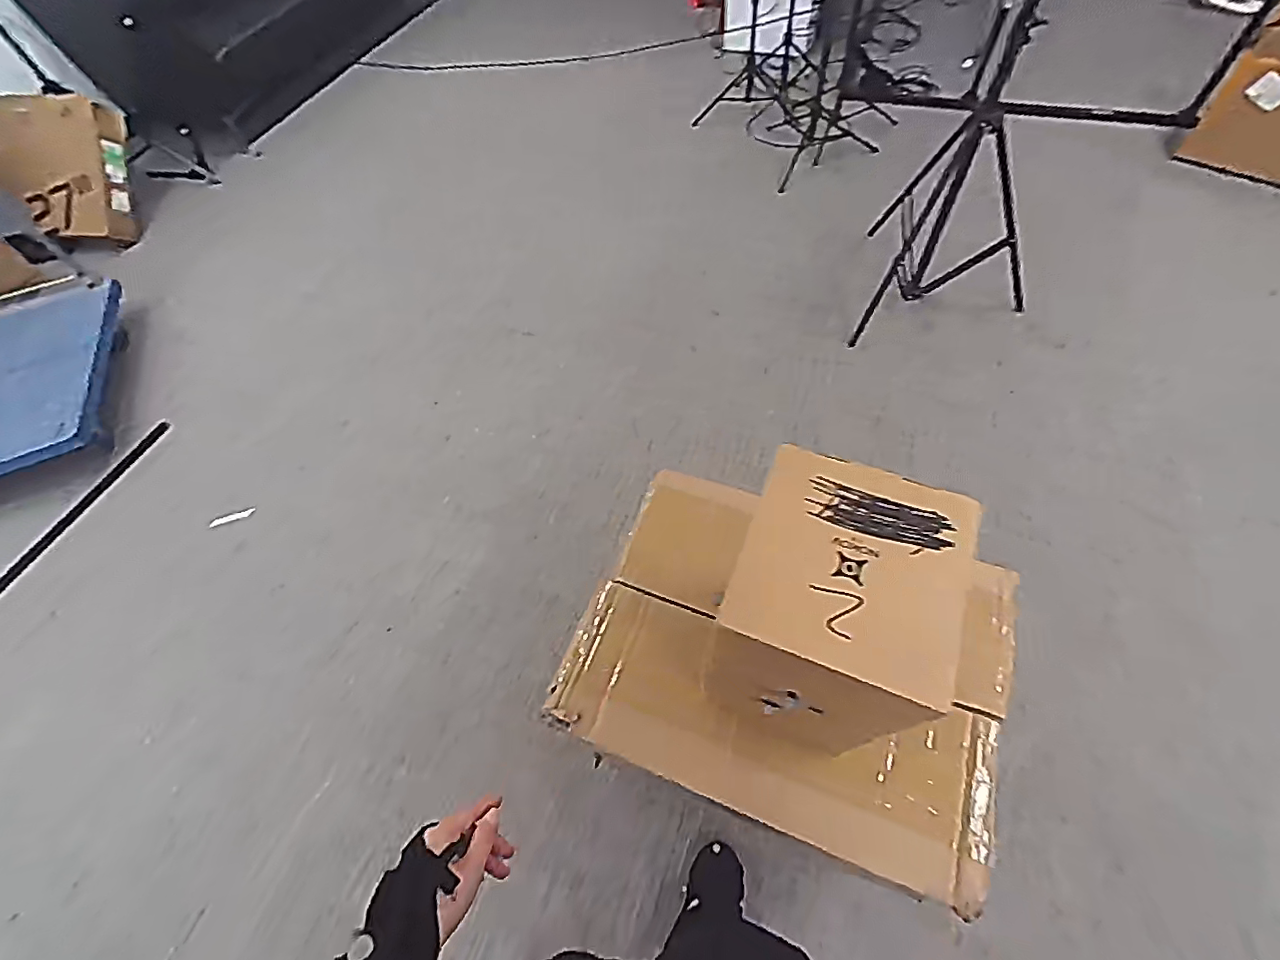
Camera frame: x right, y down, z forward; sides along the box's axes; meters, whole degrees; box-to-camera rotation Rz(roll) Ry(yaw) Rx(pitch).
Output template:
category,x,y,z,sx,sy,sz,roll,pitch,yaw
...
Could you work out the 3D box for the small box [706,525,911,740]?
category,x,y,z,sx,sy,sz,roll,pitch,yaw
small box,0.183,0.183,0.627,0.179,0.176,0.168,19,62,16
